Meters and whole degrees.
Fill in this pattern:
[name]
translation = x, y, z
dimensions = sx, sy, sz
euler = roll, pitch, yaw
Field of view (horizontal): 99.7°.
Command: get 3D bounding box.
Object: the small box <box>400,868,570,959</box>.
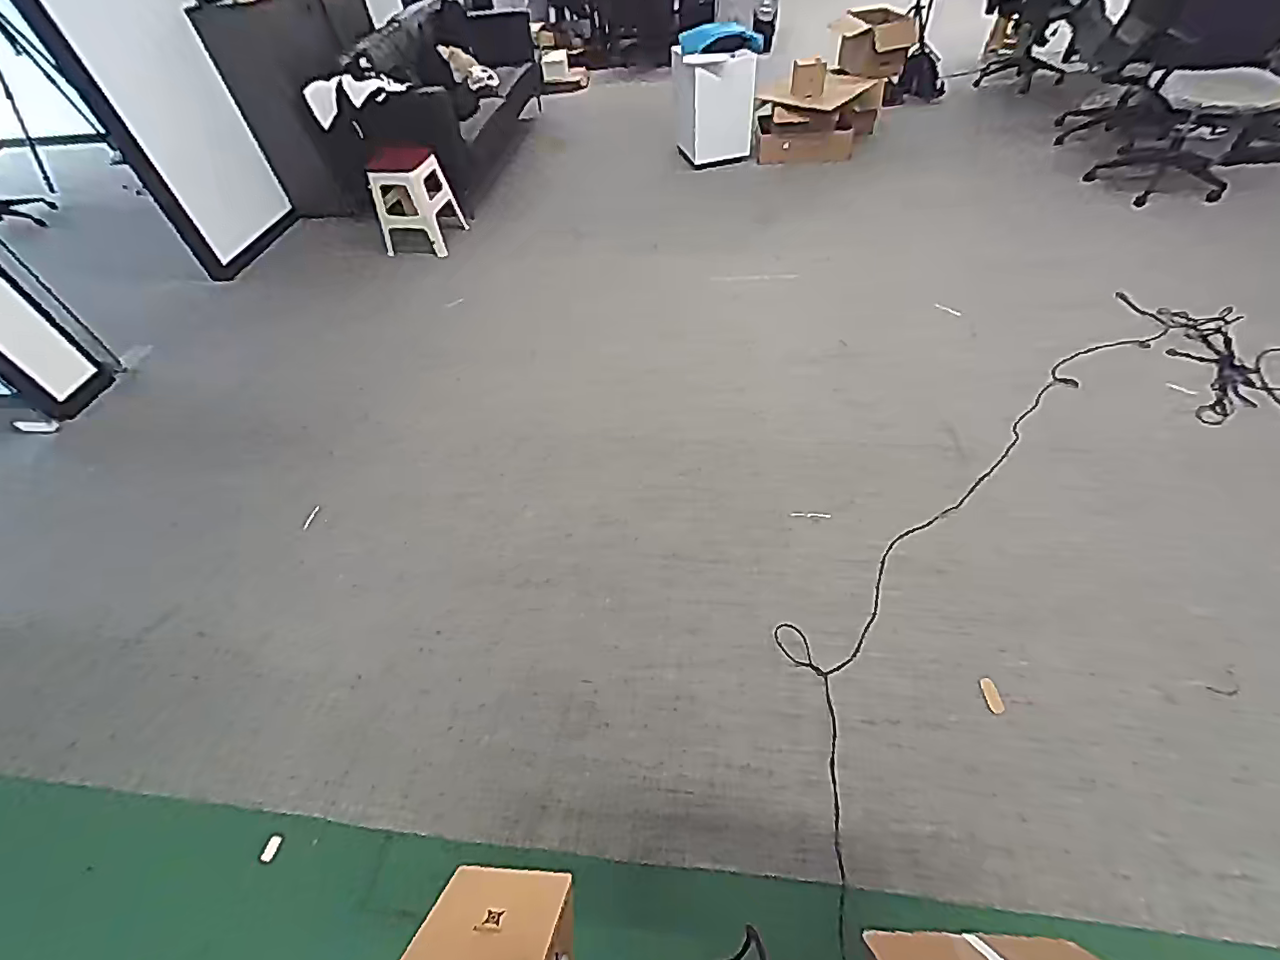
[small box]
translation = -0.187, 0.631, 0.671
dimensions = 0.168, 0.179, 0.176
euler = -1, 91, 6
